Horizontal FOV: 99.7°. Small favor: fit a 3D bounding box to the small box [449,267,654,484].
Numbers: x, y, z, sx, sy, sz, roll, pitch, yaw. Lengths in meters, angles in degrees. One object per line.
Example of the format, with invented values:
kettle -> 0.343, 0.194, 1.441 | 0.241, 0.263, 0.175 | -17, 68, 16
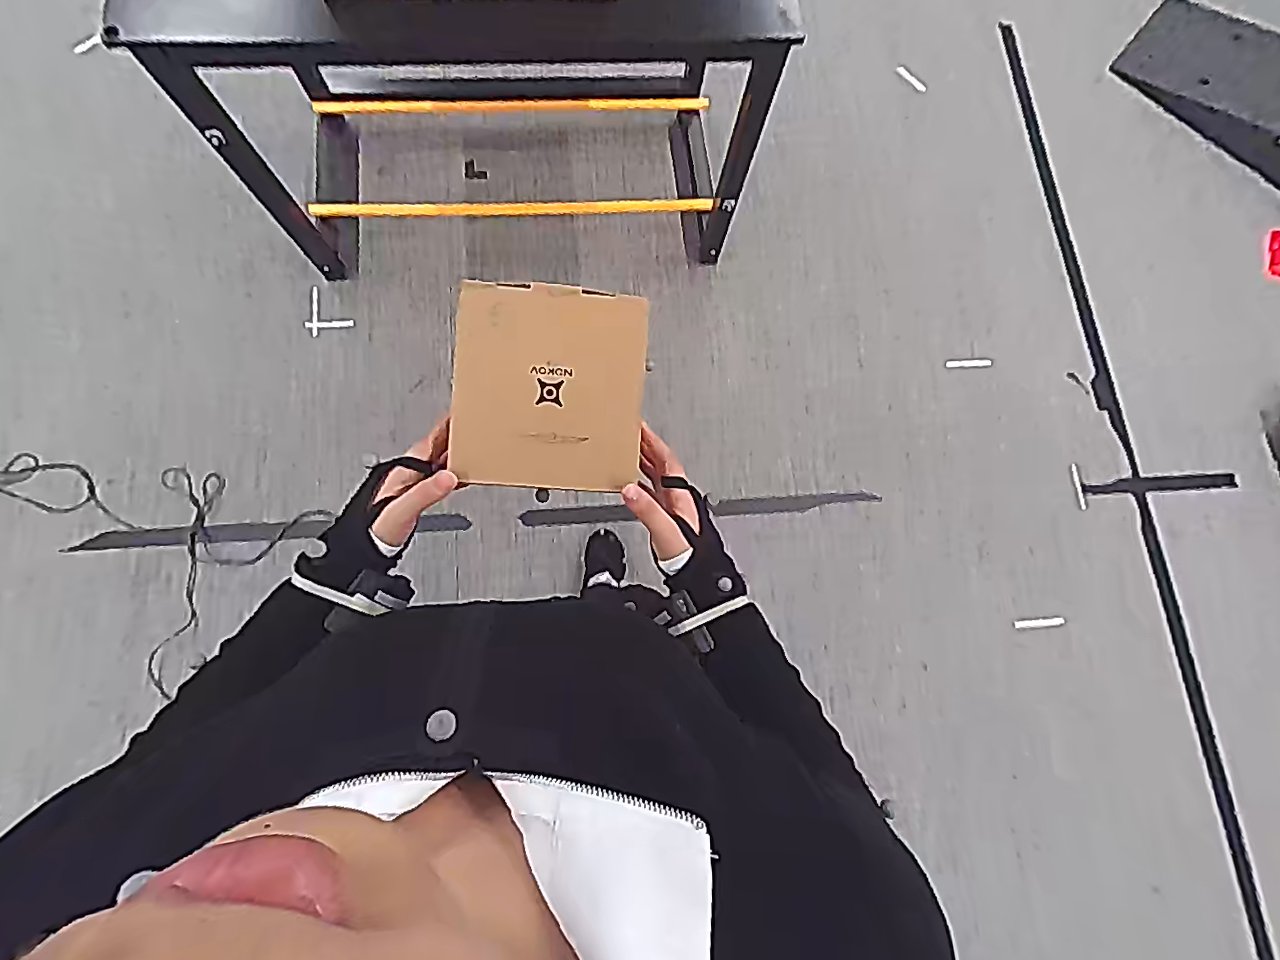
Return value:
small box -> -0.082, -0.089, 0.545 | 0.168, 0.176, 0.179 | 4, 90, -4
